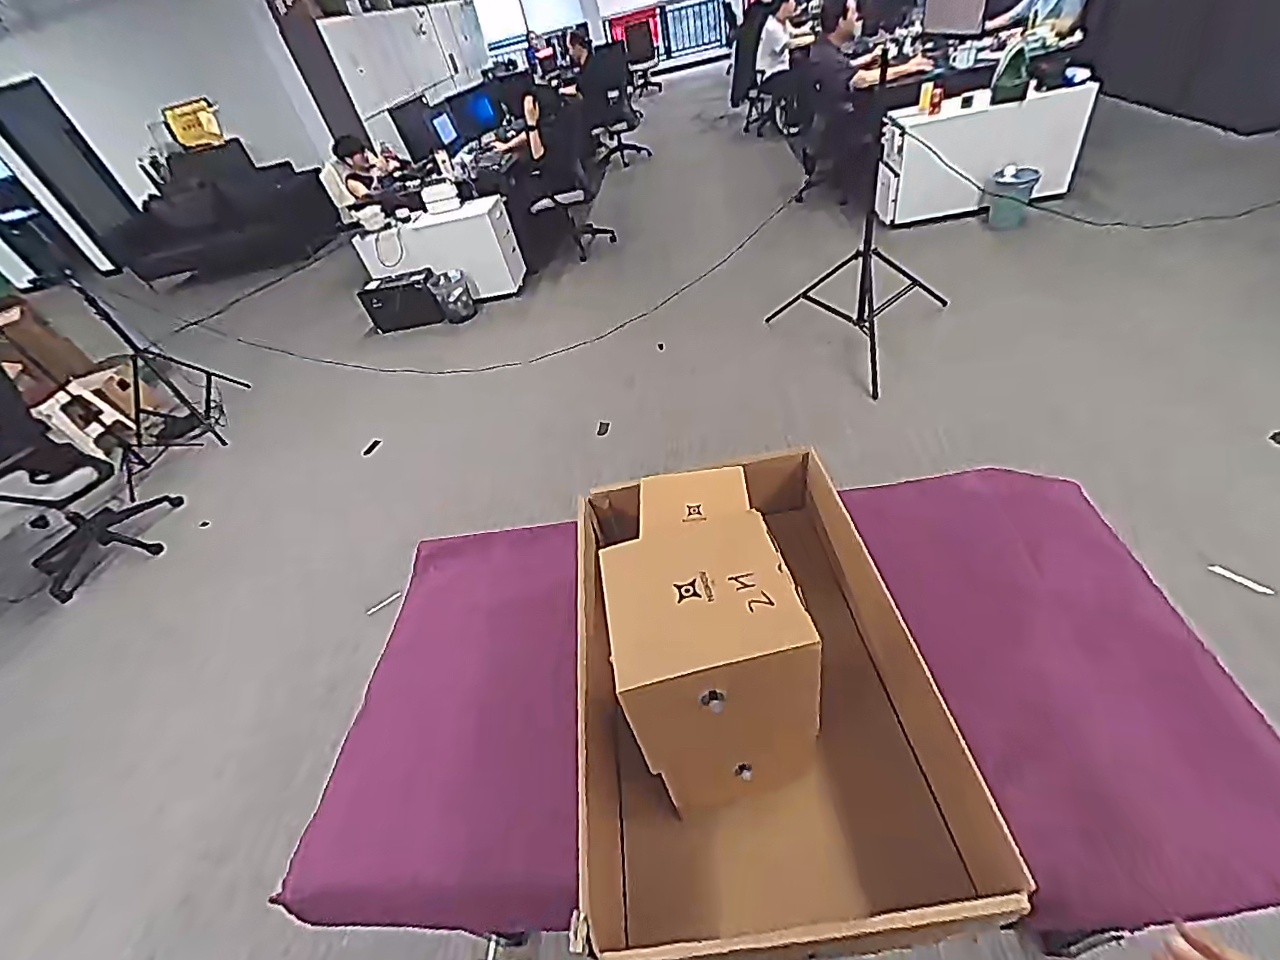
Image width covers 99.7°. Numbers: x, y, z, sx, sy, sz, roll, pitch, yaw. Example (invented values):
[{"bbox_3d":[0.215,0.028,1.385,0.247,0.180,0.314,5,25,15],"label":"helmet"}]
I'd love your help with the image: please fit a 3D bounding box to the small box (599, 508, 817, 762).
[{"bbox_3d":[0.067,0.160,0.550,0.179,0.176,0.168,-14,40,0],"label":"small box"}]
